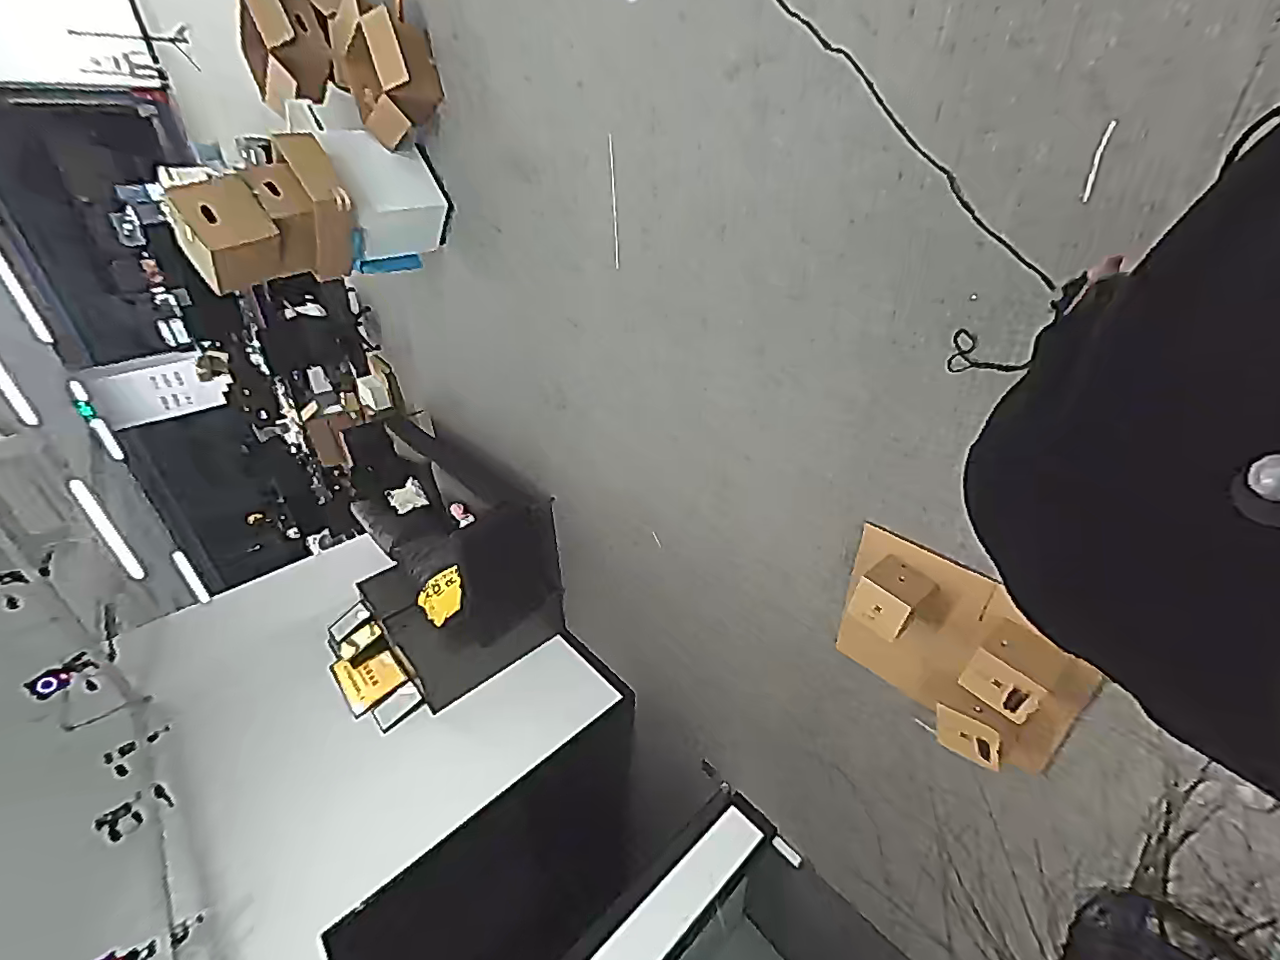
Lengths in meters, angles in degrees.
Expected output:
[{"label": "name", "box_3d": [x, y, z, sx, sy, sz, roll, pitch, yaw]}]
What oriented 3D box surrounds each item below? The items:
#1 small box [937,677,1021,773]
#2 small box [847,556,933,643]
[{"label": "small box", "box_3d": [1.031, 0.733, 1.643, 0.179, 0.176, 0.168, 15, 123, 50]}, {"label": "small box", "box_3d": [0.794, 0.371, 1.714, 0.168, 0.176, 0.179, 37, 138, 35]}]
